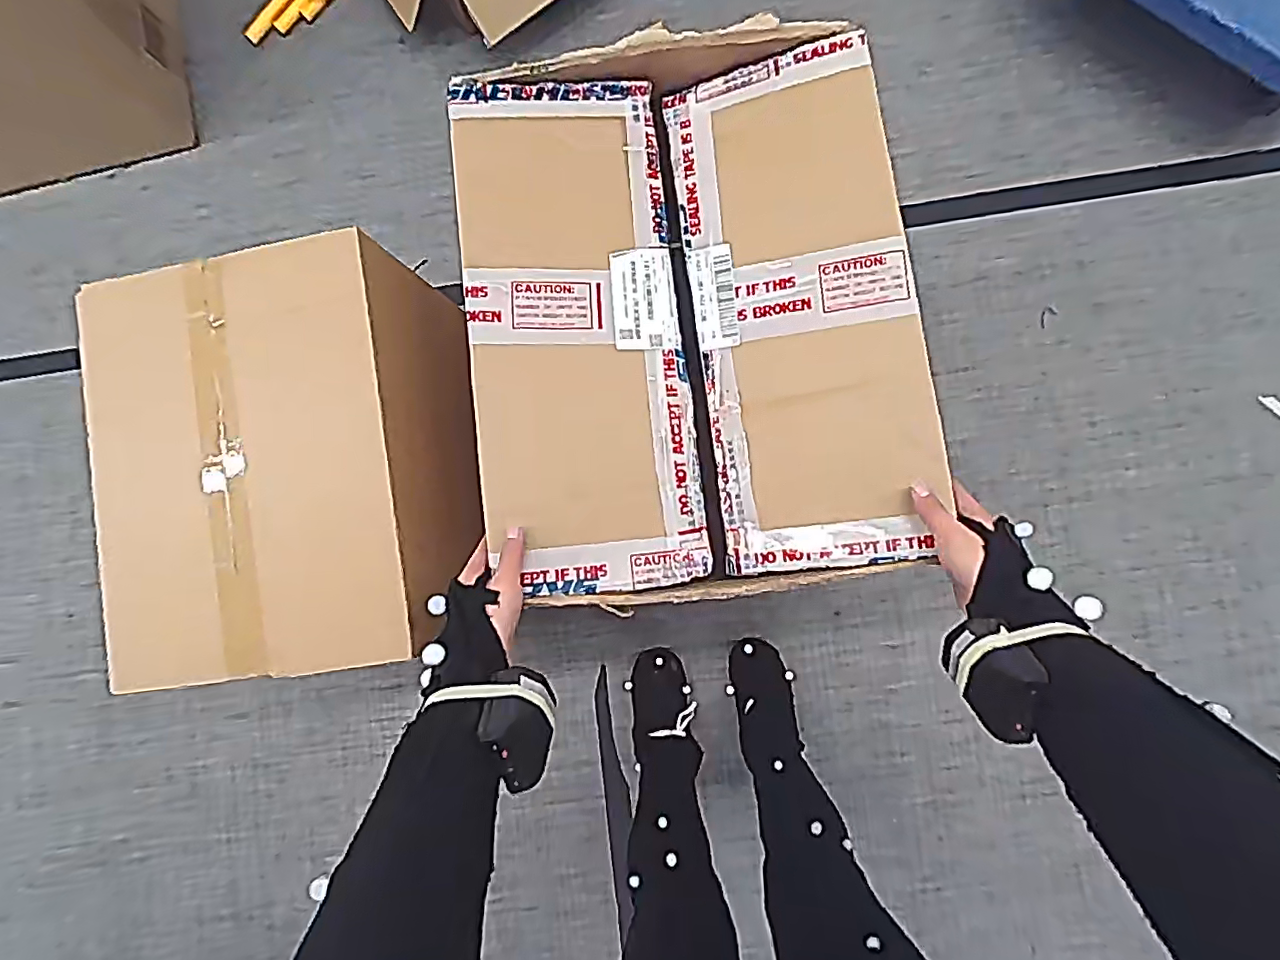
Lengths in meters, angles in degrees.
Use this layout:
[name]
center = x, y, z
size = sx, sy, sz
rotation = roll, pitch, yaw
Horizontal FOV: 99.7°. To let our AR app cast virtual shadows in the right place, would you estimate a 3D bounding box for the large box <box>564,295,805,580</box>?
[large box]
center = 0.069, -0.058, 0.969
size = 0.320, 0.320, 0.408
rotation = -9, 86, 2
